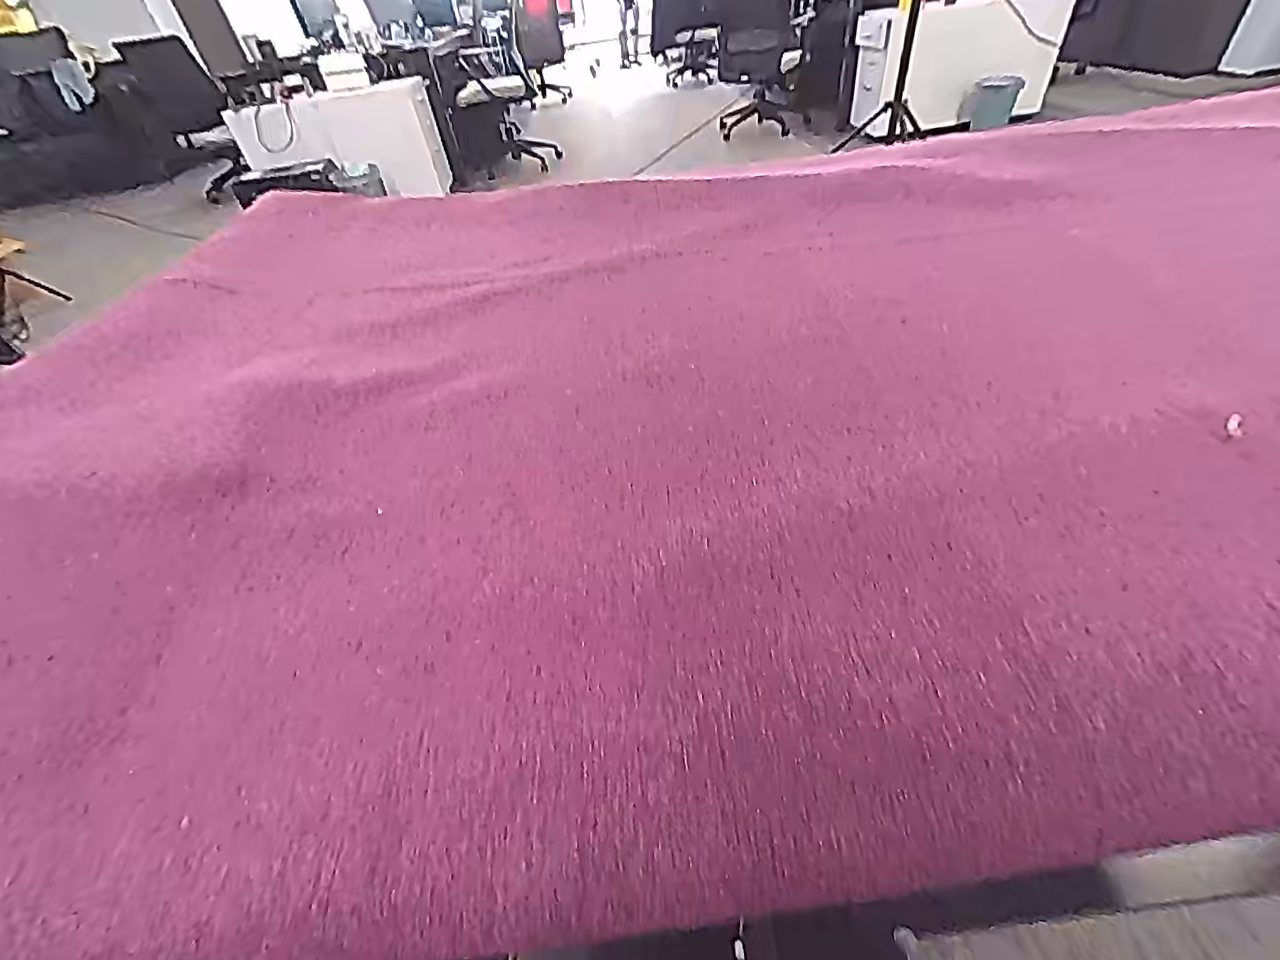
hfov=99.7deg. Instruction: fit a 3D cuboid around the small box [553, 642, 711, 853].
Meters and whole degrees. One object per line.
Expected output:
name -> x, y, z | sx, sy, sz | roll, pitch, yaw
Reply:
small box -> -0.011, 0.334, 0.679 | 0.168, 0.176, 0.179 | -10, 44, -2
